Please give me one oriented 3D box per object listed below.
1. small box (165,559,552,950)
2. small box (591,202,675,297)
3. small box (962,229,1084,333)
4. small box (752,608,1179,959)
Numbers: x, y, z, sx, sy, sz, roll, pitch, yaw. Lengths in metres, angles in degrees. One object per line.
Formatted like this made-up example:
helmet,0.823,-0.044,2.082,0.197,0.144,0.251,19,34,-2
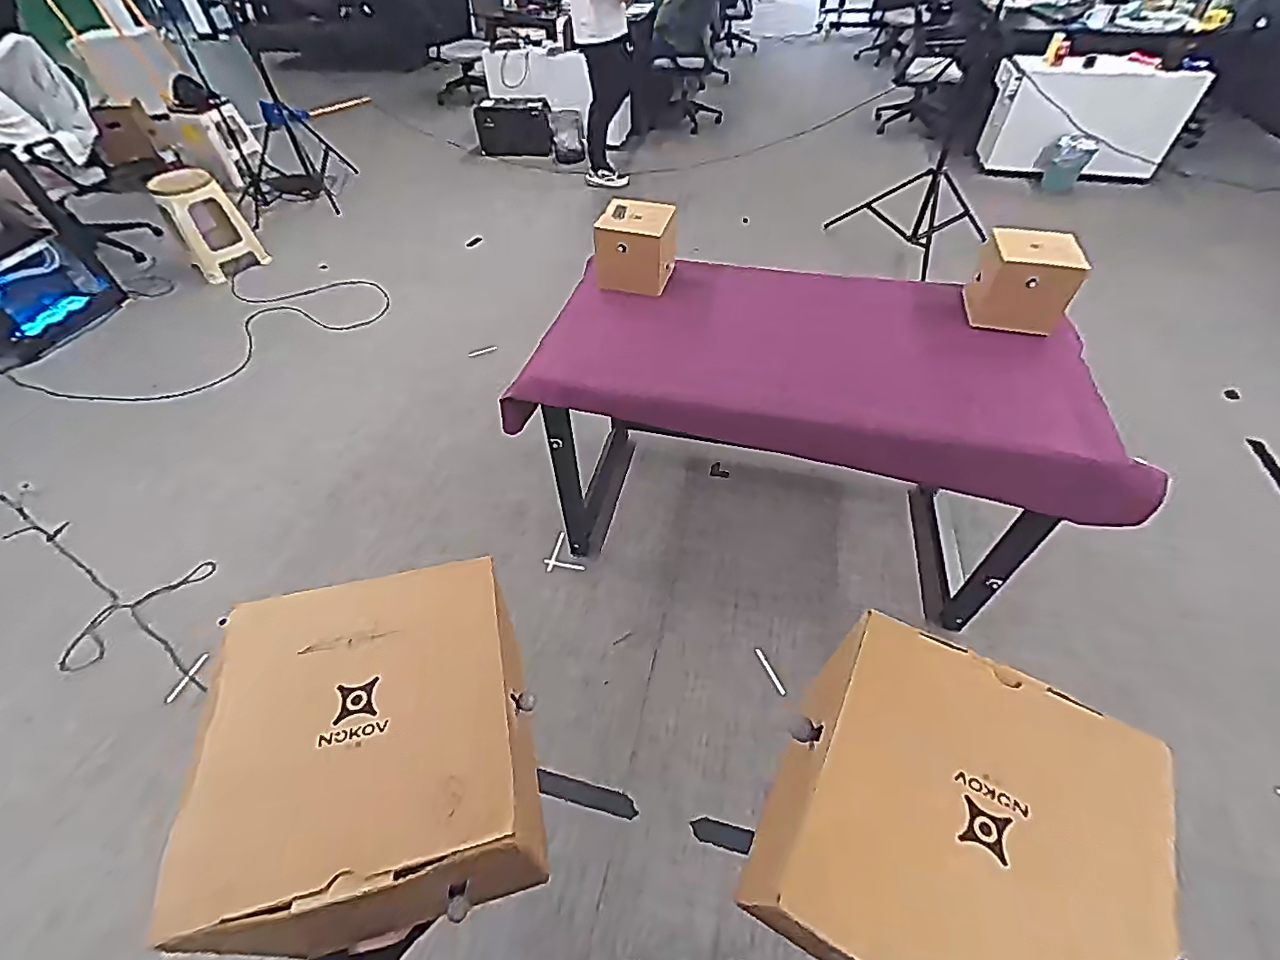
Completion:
small box,-0.158,0.185,0.368,0.168,0.176,0.179,-10,48,-12
small box,-0.015,-0.604,1.422,0.179,0.176,0.168,13,52,11
small box,0.886,-0.467,1.276,0.179,0.176,0.168,11,51,10
small box,0.181,0.221,0.342,0.168,0.176,0.179,23,55,18
